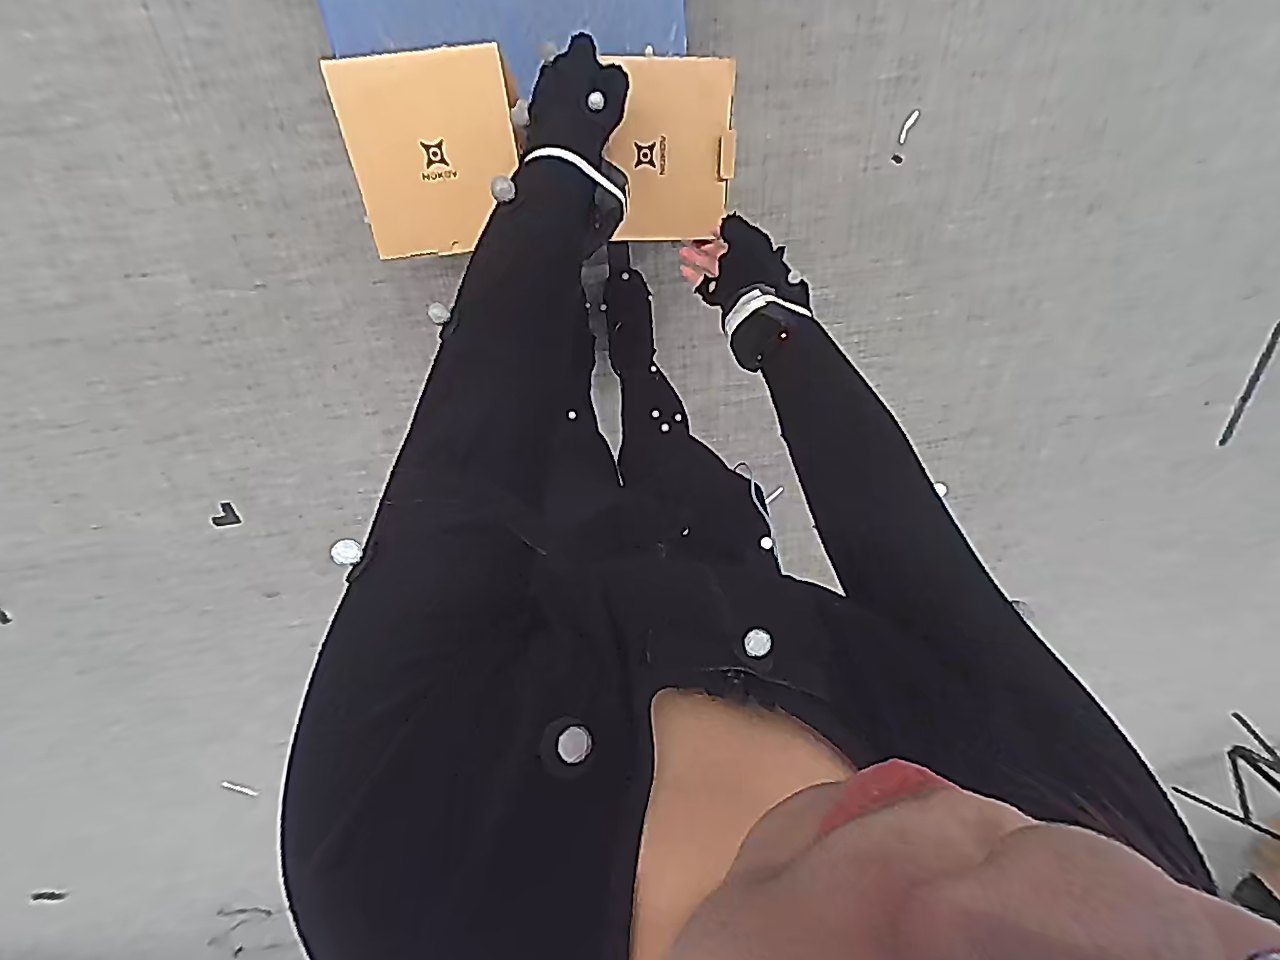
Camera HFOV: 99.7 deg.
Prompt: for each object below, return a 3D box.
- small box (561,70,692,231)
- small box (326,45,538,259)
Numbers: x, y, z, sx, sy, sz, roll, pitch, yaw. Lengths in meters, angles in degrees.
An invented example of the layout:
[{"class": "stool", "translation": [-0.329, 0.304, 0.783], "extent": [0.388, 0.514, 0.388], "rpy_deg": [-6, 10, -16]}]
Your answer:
[{"class": "small box", "translation": [-0.023, -0.461, 0.771], "extent": [0.168, 0.176, 0.179], "rpy_deg": [-6, 121, -4]}, {"class": "small box", "translation": [-0.214, -0.361, 0.613], "extent": [0.168, 0.176, 0.179], "rpy_deg": [-8, 121, -3]}]
